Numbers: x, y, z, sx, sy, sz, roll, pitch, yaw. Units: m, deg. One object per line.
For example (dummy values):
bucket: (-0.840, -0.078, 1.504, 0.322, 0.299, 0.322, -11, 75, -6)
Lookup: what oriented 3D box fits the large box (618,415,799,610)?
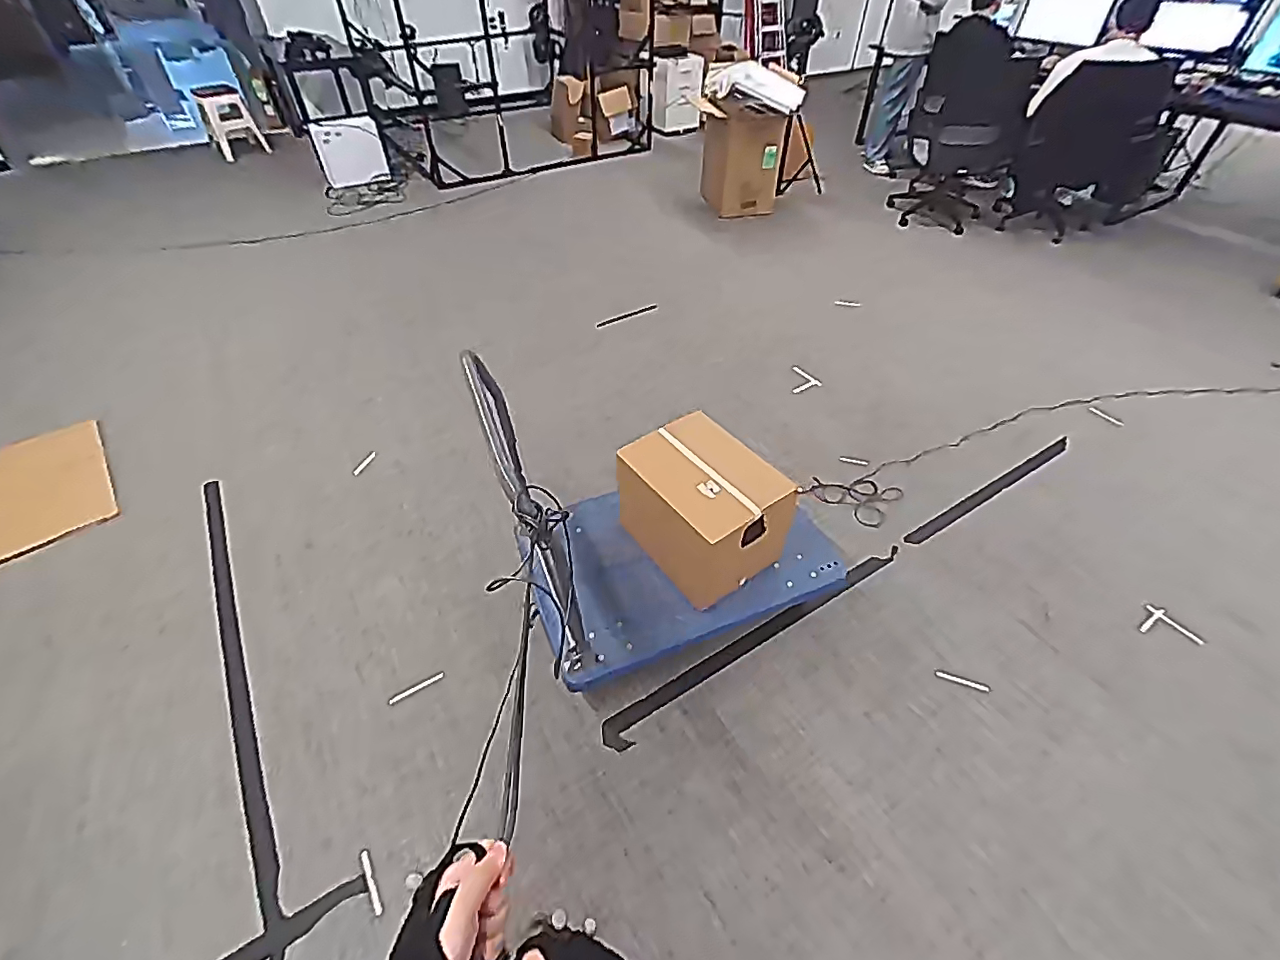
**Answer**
large box: (0.171, 0.084, 1.553, 0.320, 0.320, 0.408, -29, 53, -25)
